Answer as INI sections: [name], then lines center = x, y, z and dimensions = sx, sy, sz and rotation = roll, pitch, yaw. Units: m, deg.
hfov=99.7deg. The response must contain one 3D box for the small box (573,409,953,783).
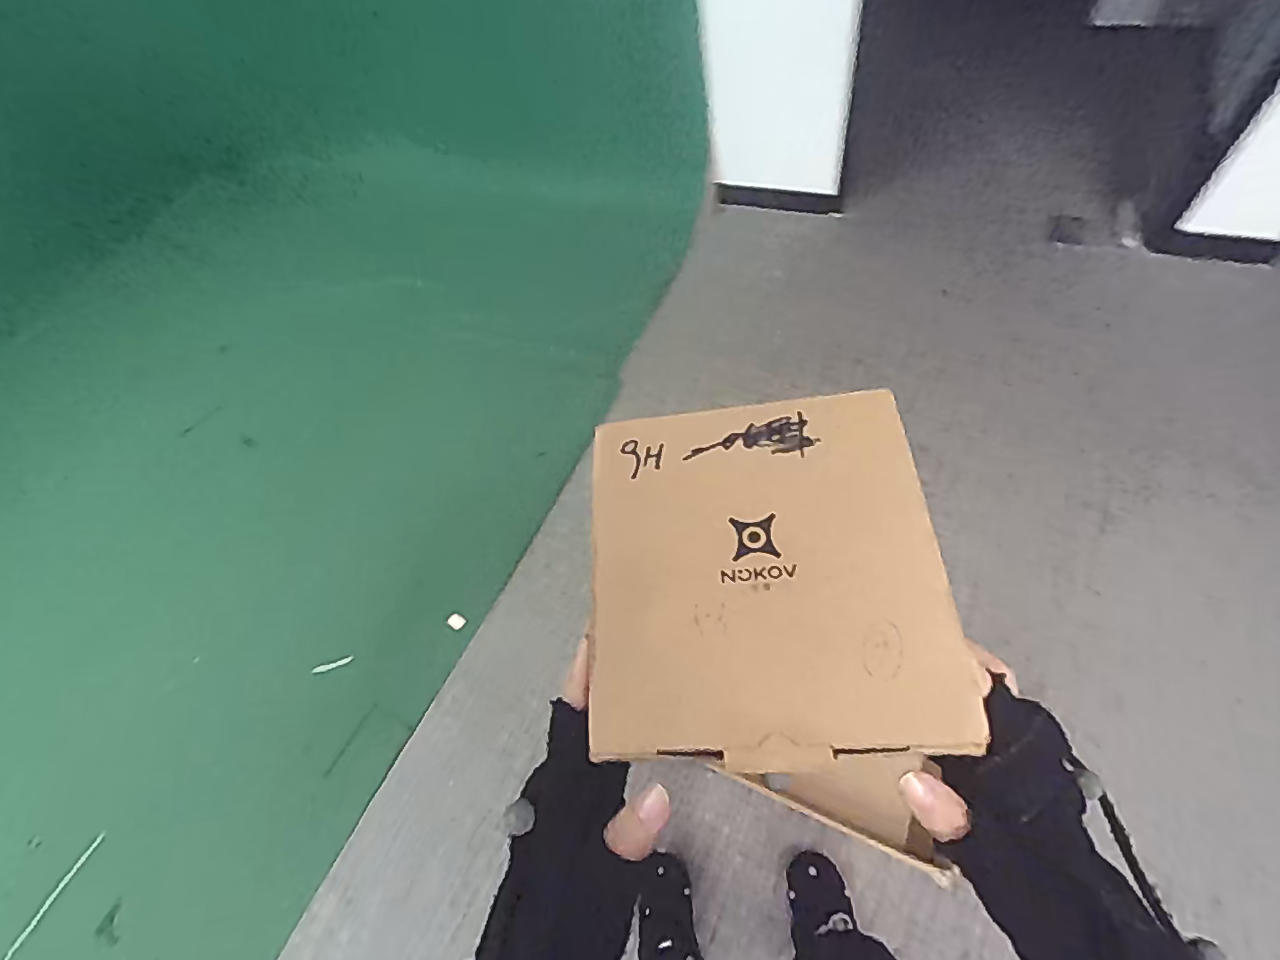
[small box]
center = 0.063, 0.082, 0.338
dimensions = 0.168, 0.176, 0.179
rotation = -7, 64, 9
